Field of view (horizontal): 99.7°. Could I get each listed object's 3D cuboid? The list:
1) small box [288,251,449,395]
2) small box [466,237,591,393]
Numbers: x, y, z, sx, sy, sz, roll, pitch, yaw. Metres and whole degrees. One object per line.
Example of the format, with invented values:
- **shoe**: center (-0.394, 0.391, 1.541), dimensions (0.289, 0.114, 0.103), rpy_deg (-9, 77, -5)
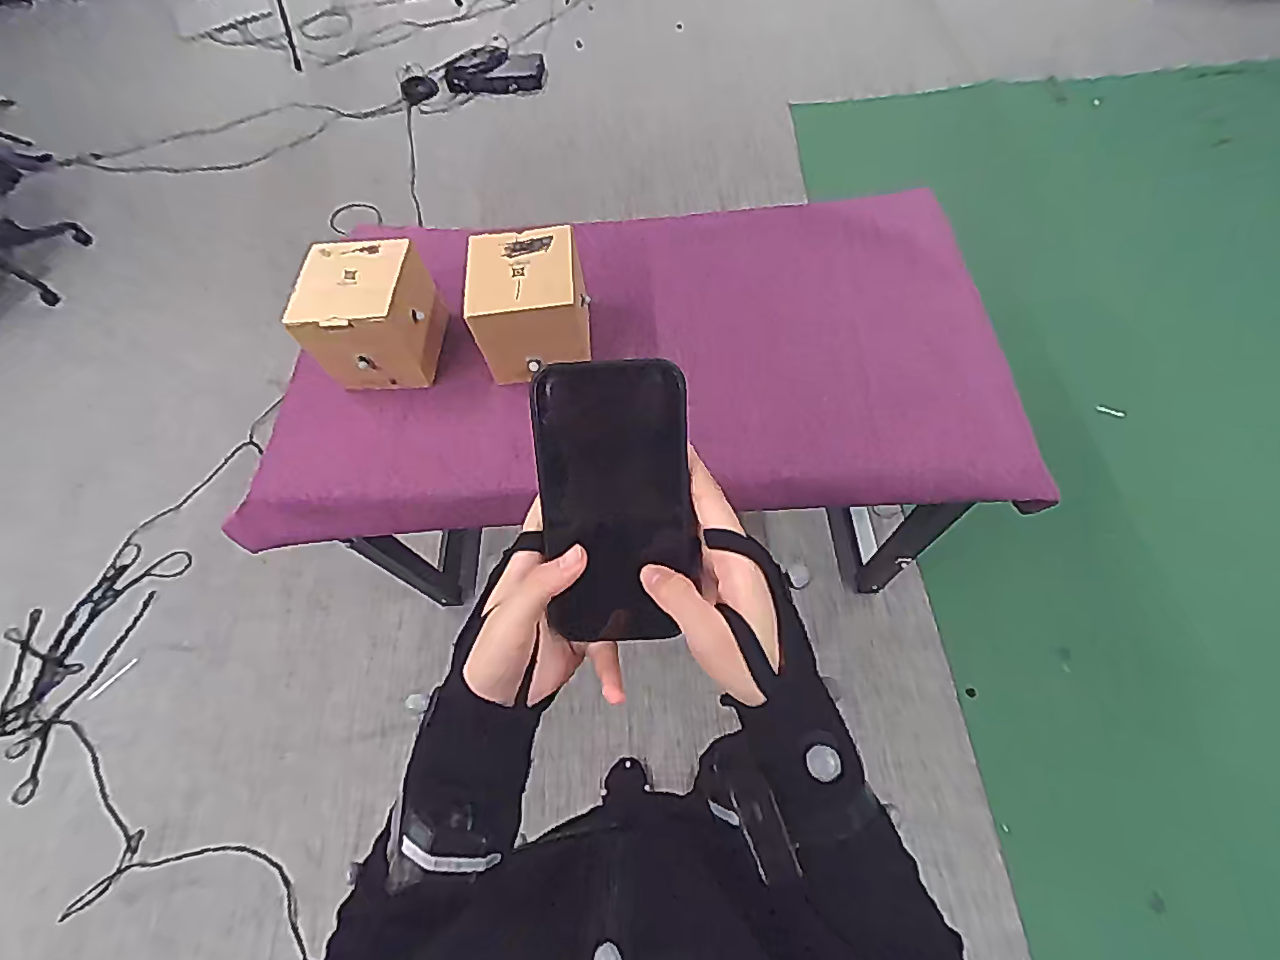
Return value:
- **small box**: center (-0.443, -0.257, 0.917), dimensions (0.168, 0.176, 0.179), rpy_deg (-2, 62, 4)
- **small box**: center (-0.175, -0.269, 0.900), dimensions (0.168, 0.176, 0.179), rpy_deg (-6, 62, 2)
